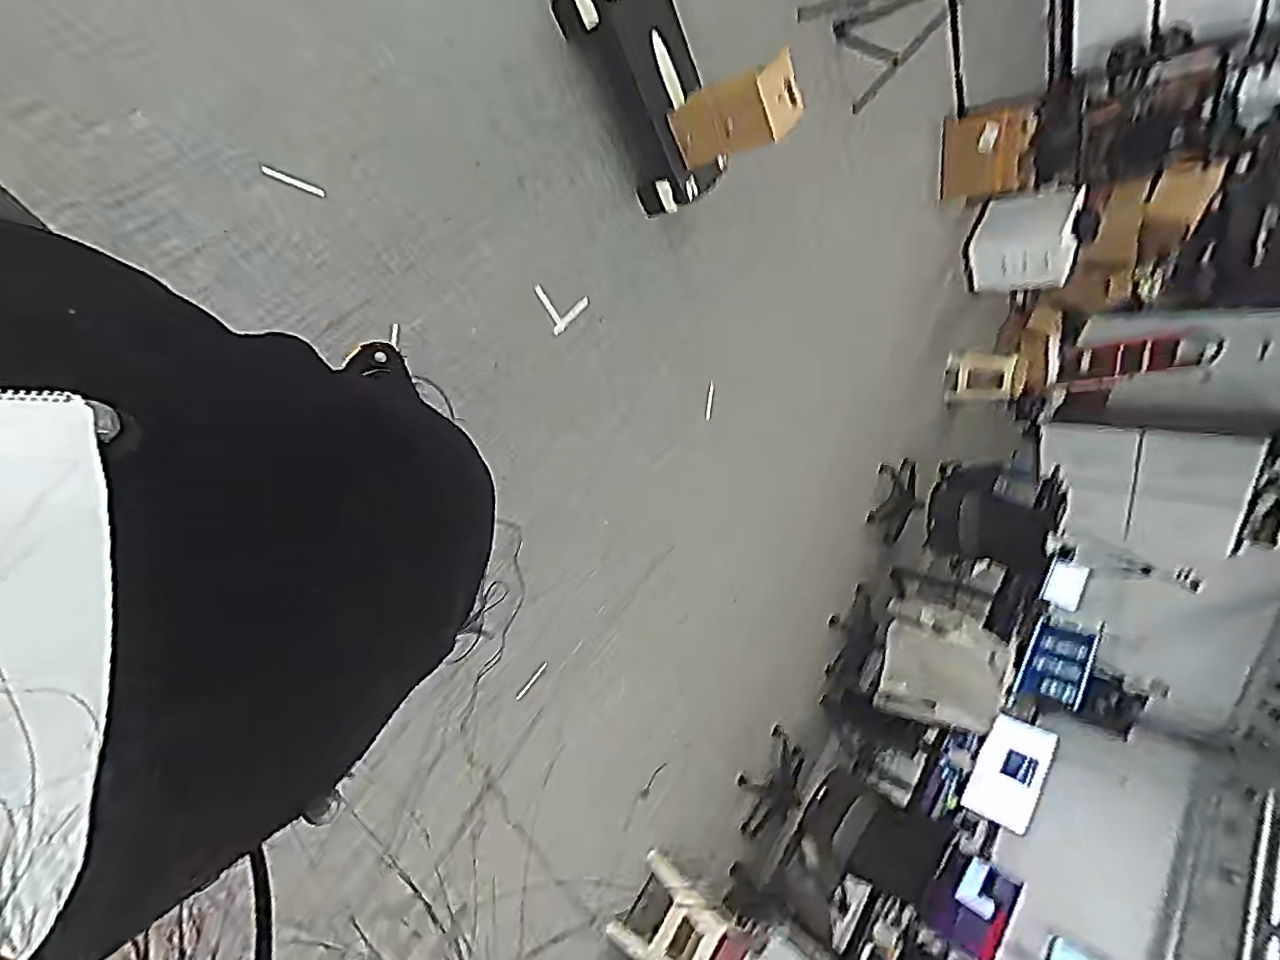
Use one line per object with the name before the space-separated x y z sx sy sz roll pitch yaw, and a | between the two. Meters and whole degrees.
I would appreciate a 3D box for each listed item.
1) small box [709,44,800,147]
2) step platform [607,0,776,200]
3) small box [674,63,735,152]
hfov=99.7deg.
small box | 0.329 -1.107 1.565 0.179 0.176 0.168 -52 129 -20
step platform | 0.155 -1.192 1.559 0.286 0.204 0.684 -52 131 -22
small box | 0.211 -1.139 1.676 0.179 0.176 0.168 -52 129 -21
